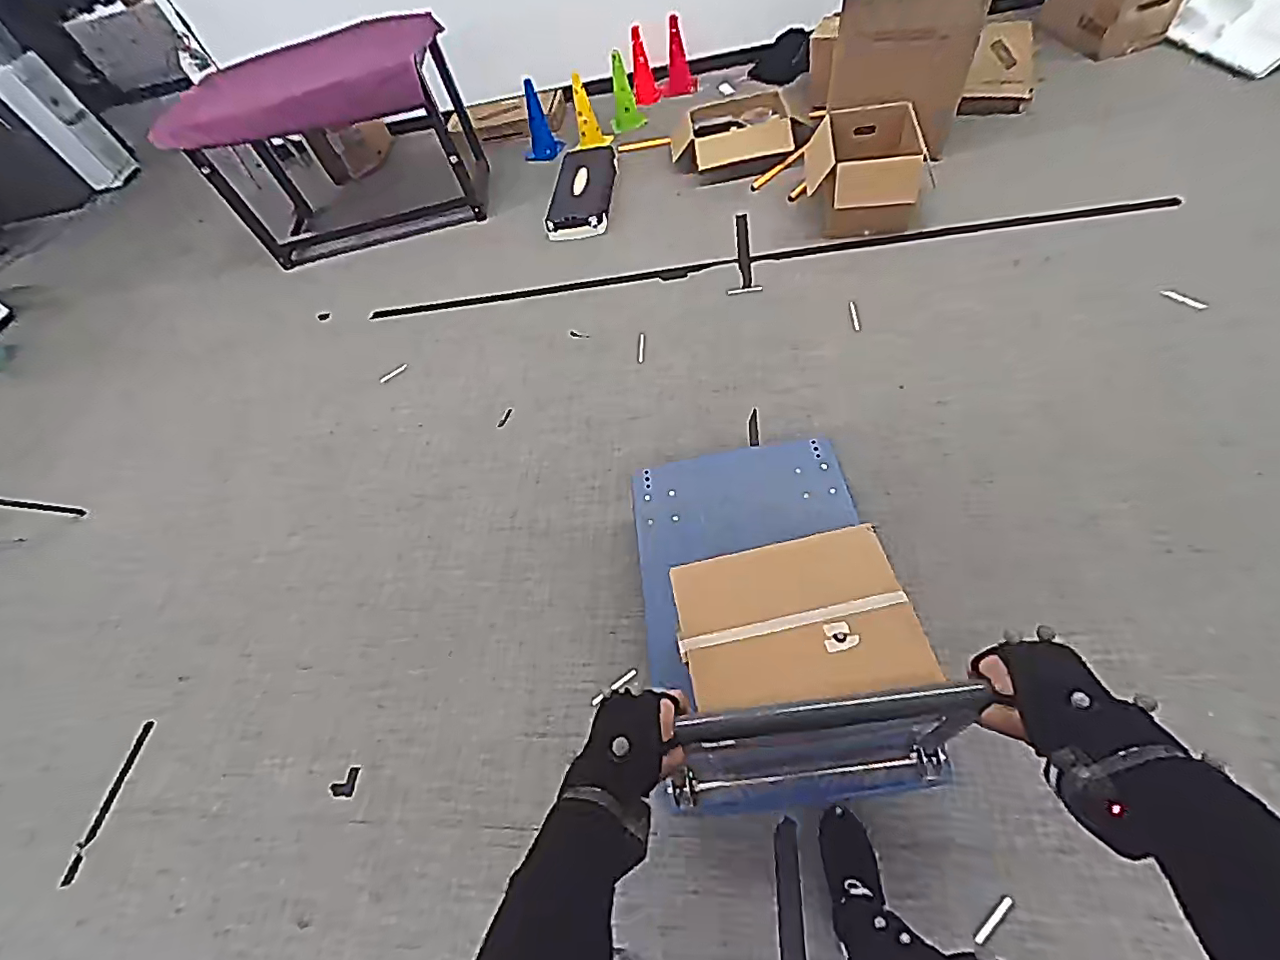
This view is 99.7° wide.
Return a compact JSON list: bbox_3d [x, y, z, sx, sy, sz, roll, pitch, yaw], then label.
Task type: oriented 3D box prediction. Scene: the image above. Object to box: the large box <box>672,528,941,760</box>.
[{"bbox_3d":[0.303,0.344,1.099,0.408,0.320,0.320,-13,56,3],"label":"large box"}]
